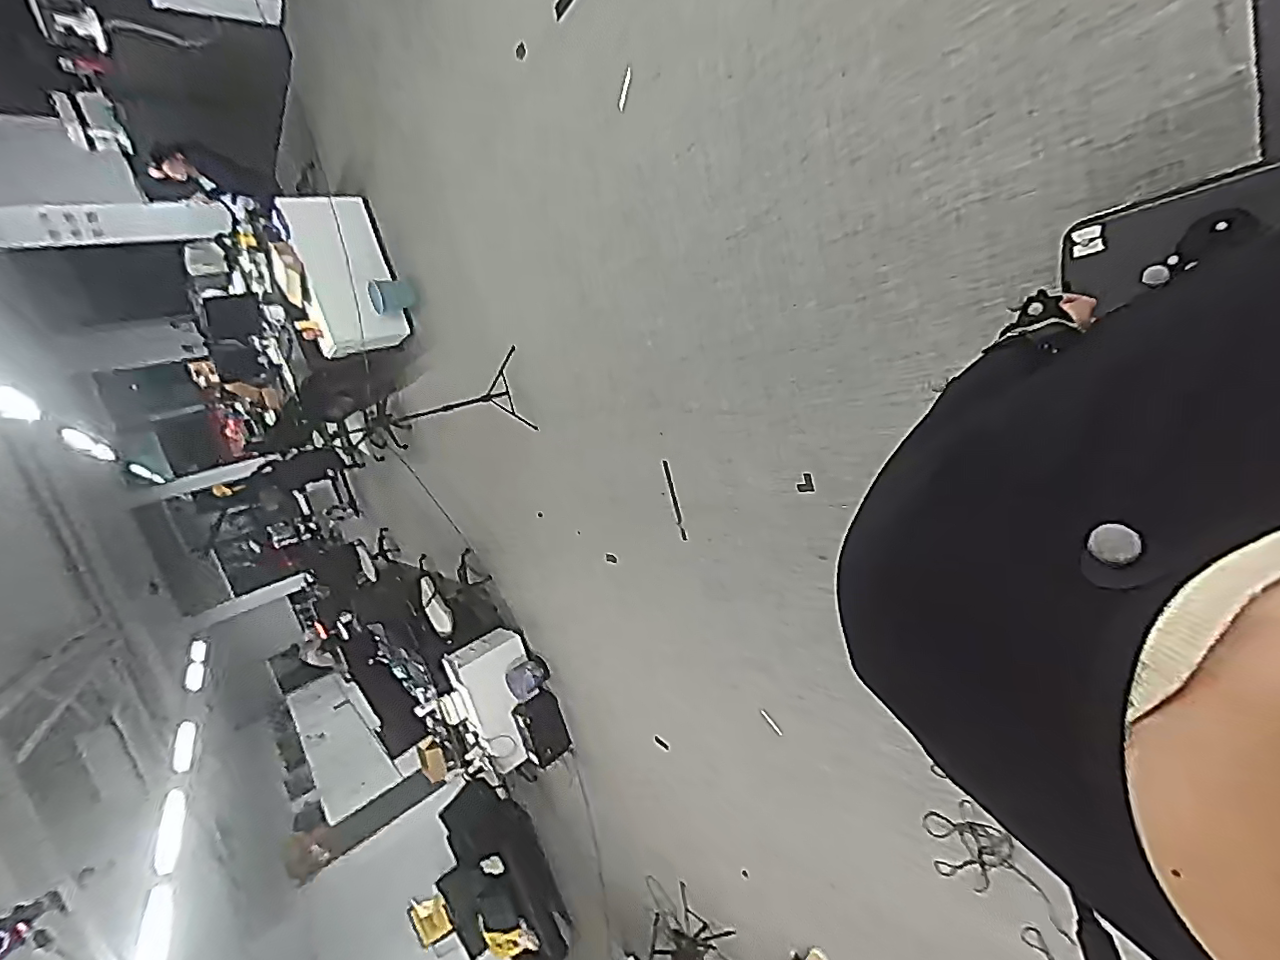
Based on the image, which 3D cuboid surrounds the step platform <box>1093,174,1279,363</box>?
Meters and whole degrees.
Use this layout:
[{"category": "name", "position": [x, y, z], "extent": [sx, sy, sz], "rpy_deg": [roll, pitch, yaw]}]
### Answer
[{"category": "step platform", "position": [1.161, -0.373, 0.854], "extent": [0.684, 0.204, 0.286], "rpy_deg": [3, 110, 50]}]
